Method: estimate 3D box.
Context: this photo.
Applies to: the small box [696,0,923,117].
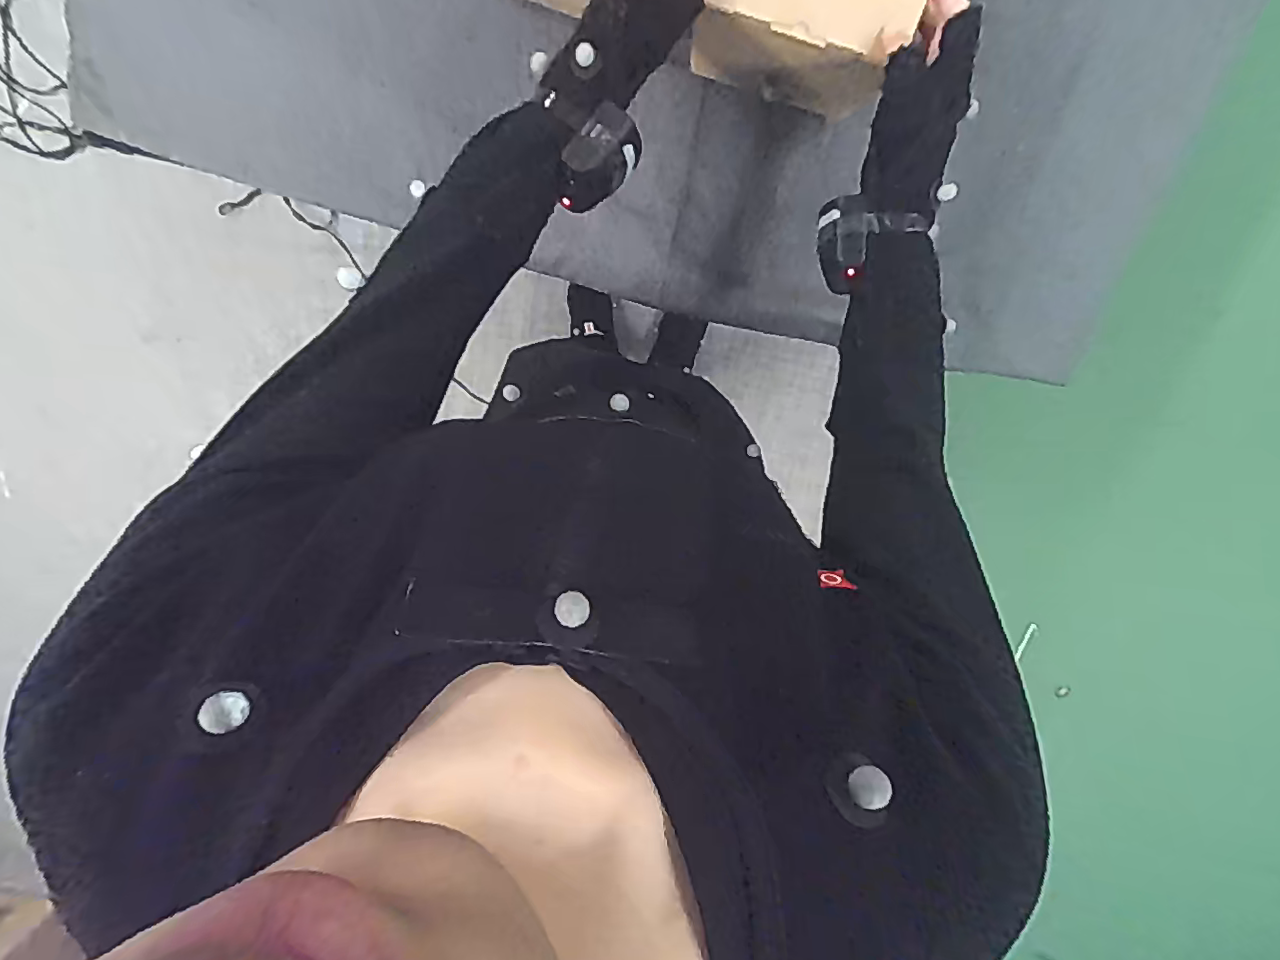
[{"bbox_3d":[0.148,-0.444,0.454,0.168,0.176,0.179,17,113,-2],"label":"small box"}]
